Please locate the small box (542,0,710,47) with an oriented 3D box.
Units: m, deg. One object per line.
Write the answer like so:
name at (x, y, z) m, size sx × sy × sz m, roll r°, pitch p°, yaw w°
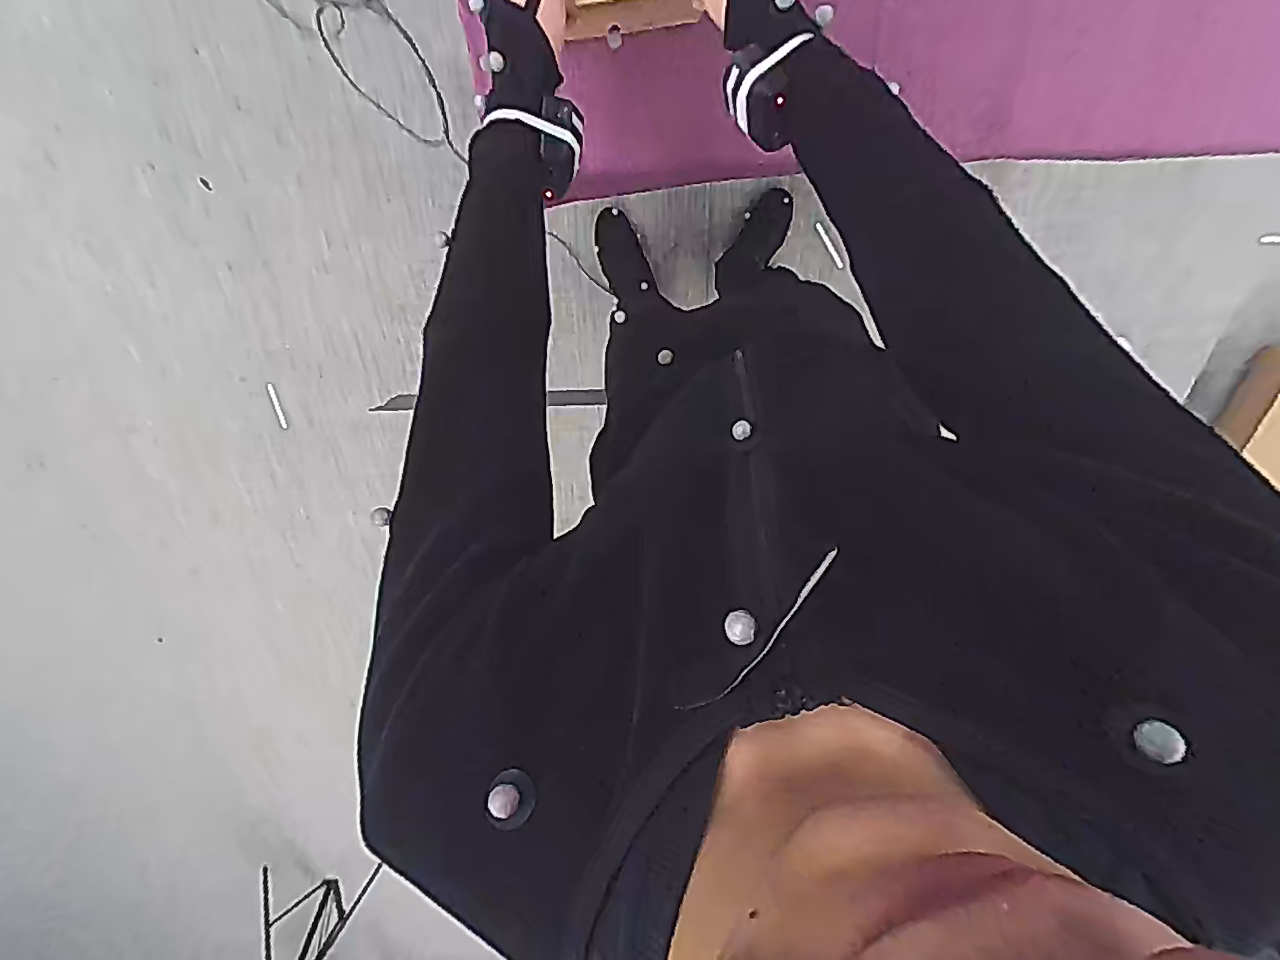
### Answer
small box at (-0.023, -0.550, 0.517) m, size 0.168 × 0.176 × 0.179 m, roll -8°, pitch 120°, yaw 1°
